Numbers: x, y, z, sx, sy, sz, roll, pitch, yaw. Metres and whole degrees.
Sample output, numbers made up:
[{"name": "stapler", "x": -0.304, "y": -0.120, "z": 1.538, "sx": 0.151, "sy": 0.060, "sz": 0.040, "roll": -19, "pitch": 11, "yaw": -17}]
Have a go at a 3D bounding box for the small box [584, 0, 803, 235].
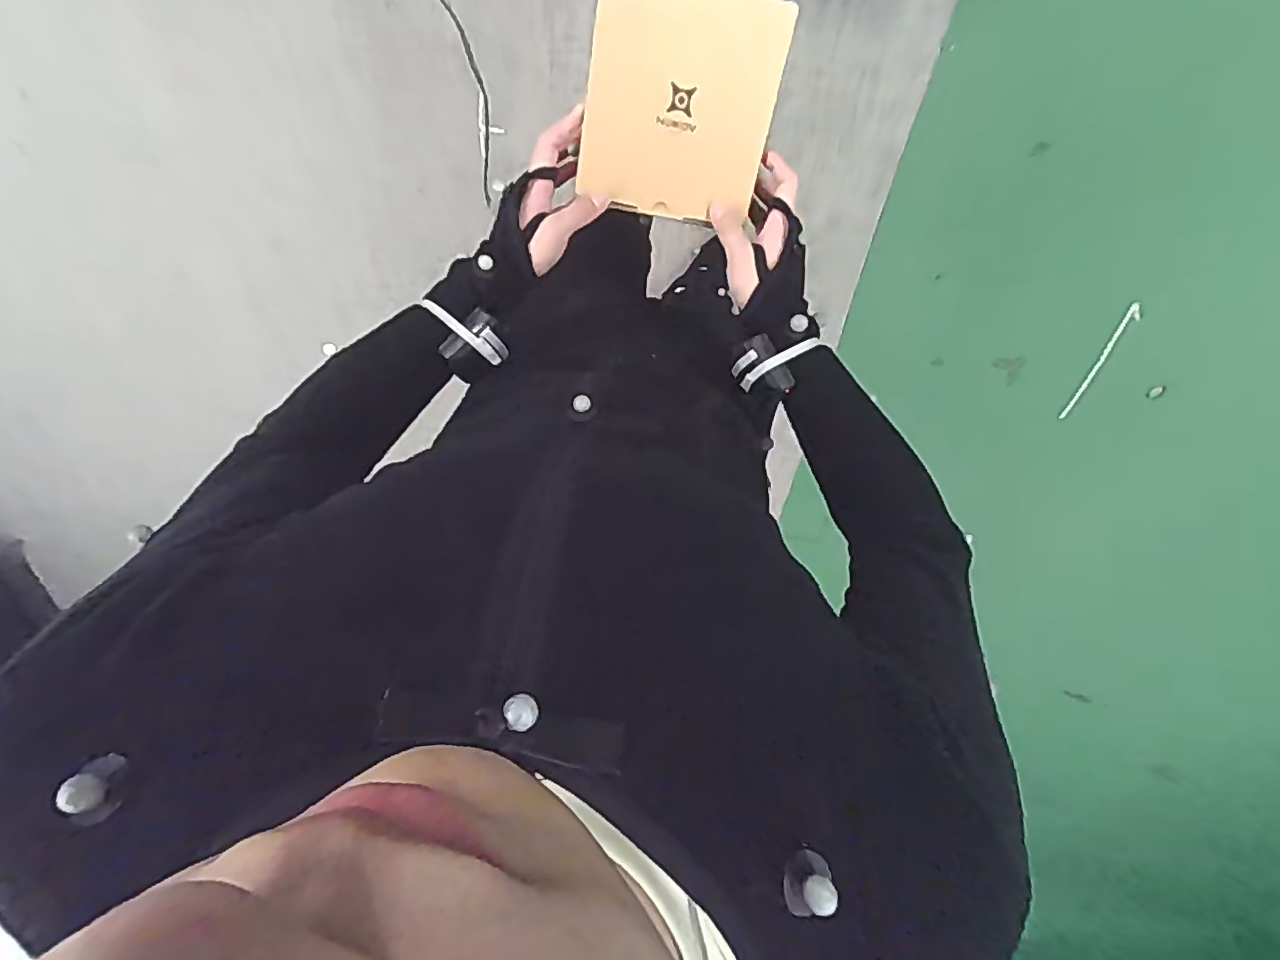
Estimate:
[{"name": "small box", "x": 0.041, "y": -0.364, "z": 0.552, "sx": 0.168, "sy": 0.176, "sz": 0.179, "roll": 10, "pitch": 117, "yaw": -5}]
